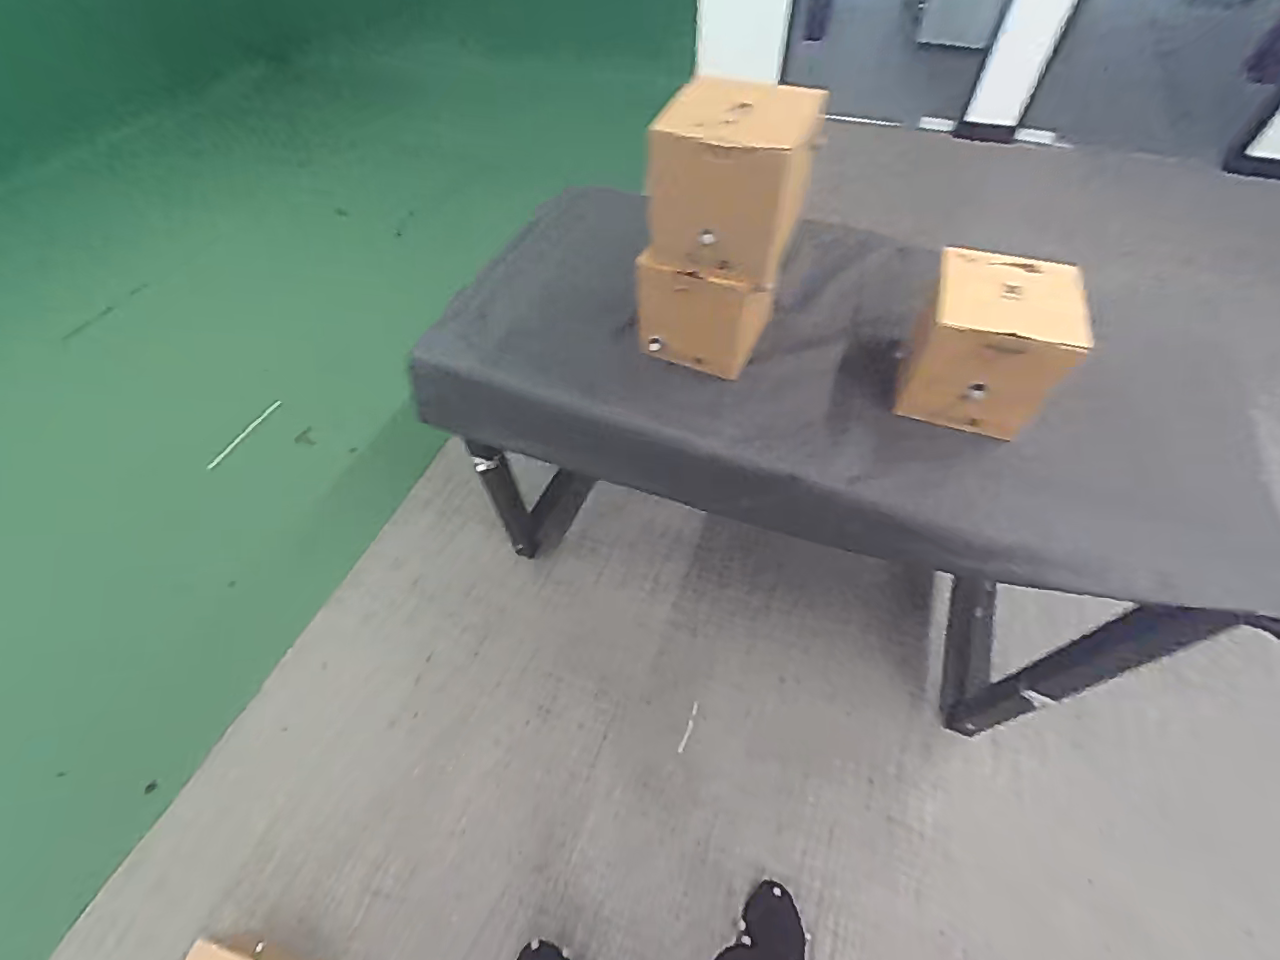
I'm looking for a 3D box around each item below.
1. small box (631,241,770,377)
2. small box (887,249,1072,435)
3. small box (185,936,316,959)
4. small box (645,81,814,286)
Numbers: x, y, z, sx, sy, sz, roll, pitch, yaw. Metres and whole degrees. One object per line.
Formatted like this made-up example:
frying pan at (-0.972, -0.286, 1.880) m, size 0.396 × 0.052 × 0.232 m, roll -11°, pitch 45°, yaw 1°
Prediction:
small box at (0.099, -0.290, 0.845) m, size 0.168 × 0.176 × 0.179 m, roll 21°, pitch 57°, yaw 15°
small box at (0.462, -0.189, 0.759) m, size 0.168 × 0.176 × 0.179 m, roll 16°, pitch 57°, yaw 13°
small box at (-0.688, 0.906, 0.918) m, size 0.179 × 0.176 × 0.168 m, roll 11°, pitch 55°, yaw 11°
small box at (0.112, -0.388, 0.711) m, size 0.168 × 0.176 × 0.179 m, roll 18°, pitch 57°, yaw 15°
